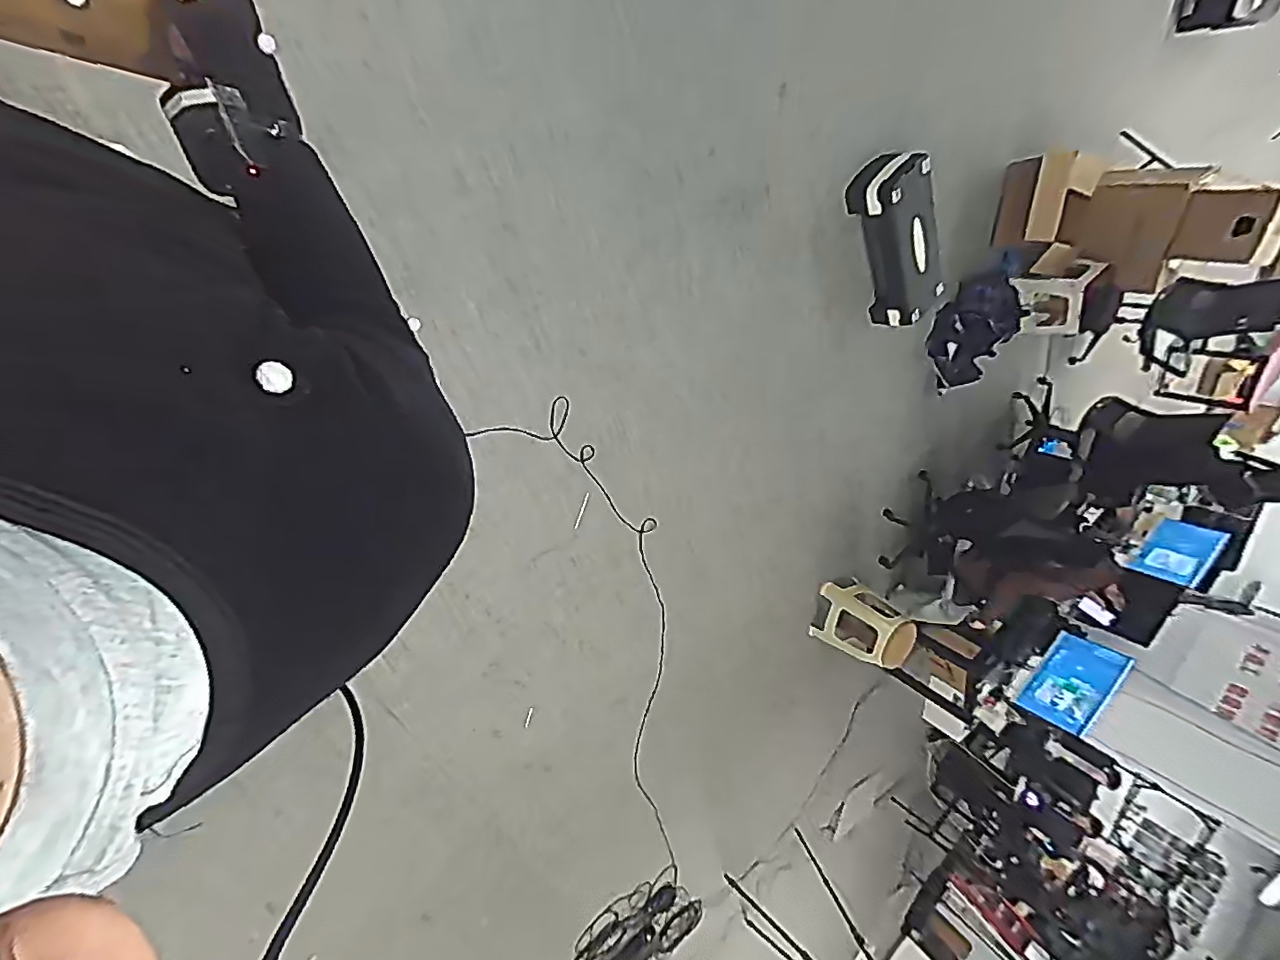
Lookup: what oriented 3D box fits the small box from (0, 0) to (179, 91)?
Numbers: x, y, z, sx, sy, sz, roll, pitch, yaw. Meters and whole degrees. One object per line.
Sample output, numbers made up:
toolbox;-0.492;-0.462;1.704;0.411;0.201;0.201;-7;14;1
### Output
small box;-0.415;-0.403;0.344;0.168;0.176;0.179;-5;89;-36
